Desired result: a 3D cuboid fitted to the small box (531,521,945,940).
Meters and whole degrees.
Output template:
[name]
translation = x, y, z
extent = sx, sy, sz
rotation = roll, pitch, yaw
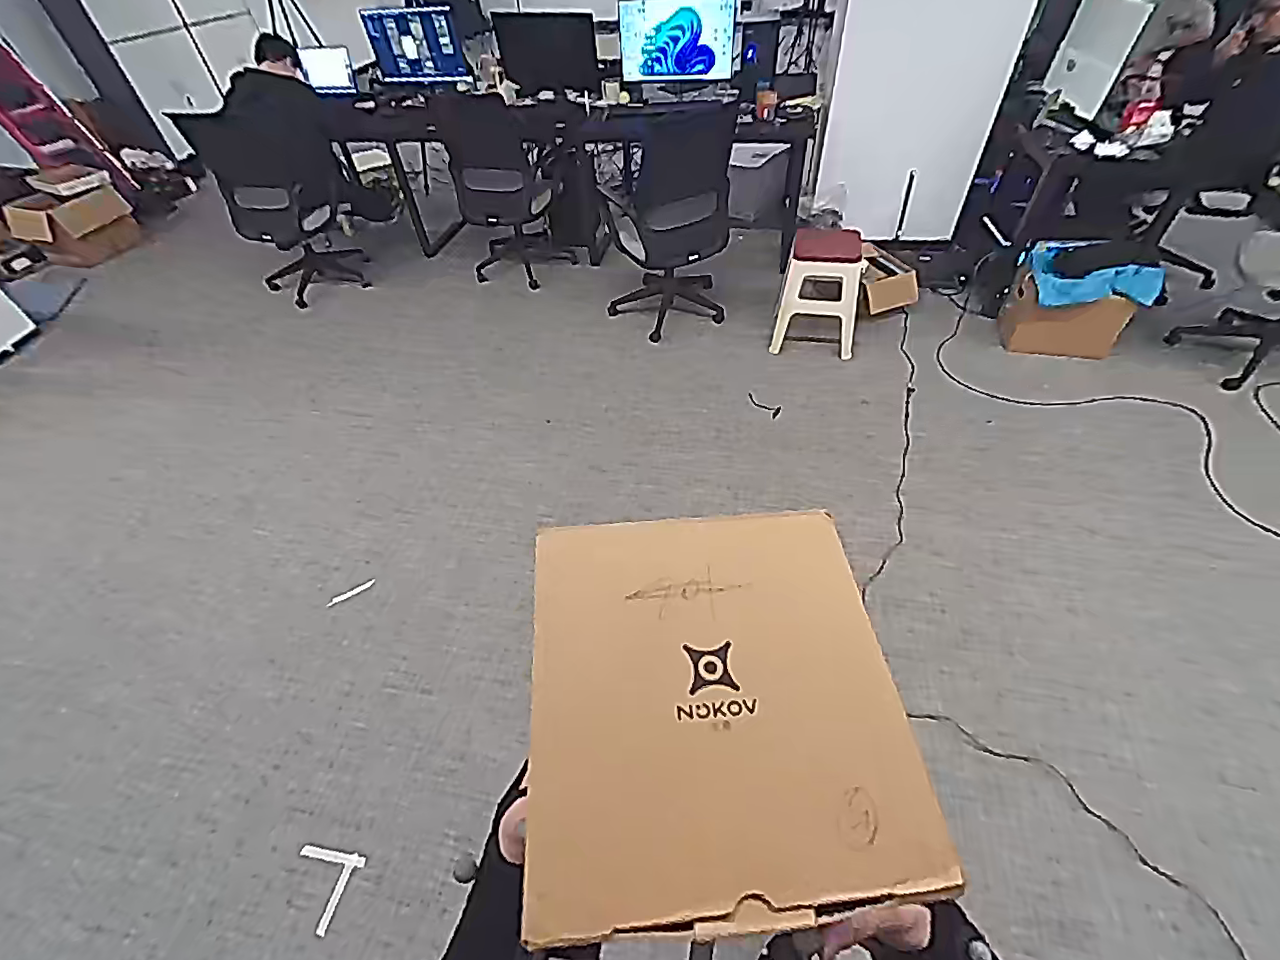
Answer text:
[small box]
translation = 0.031, 0.146, 0.320
extent = 0.168, 0.176, 0.179
rotation = -3, 51, -5
